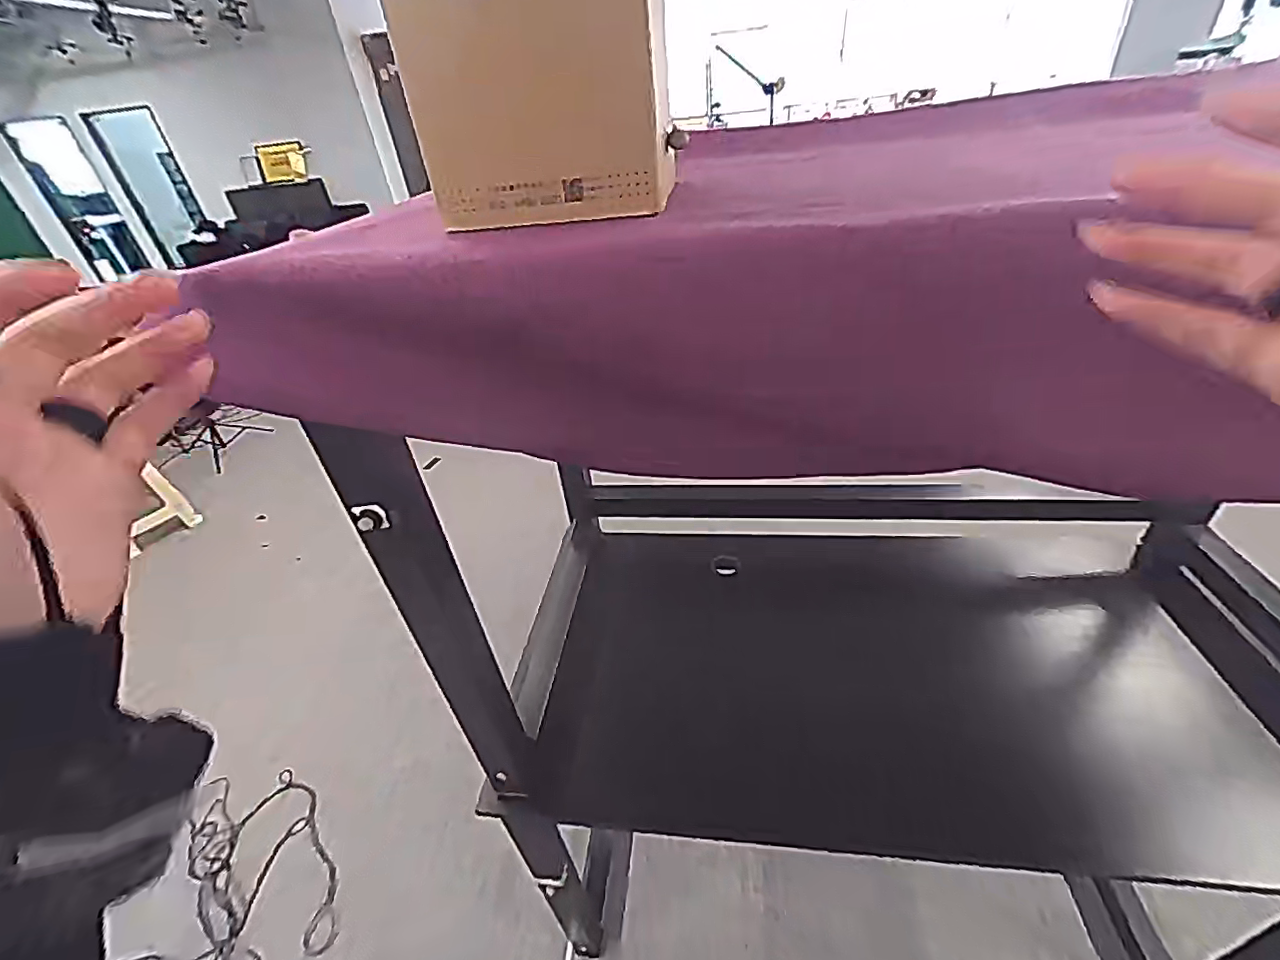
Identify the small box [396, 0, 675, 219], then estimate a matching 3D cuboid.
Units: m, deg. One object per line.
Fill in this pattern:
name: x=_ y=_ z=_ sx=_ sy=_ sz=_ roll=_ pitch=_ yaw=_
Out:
small box: x=-0.063 y=-0.305 z=0.412 sx=0.168 sy=0.176 sz=0.179 roll=-1 pitch=35 yaw=8
